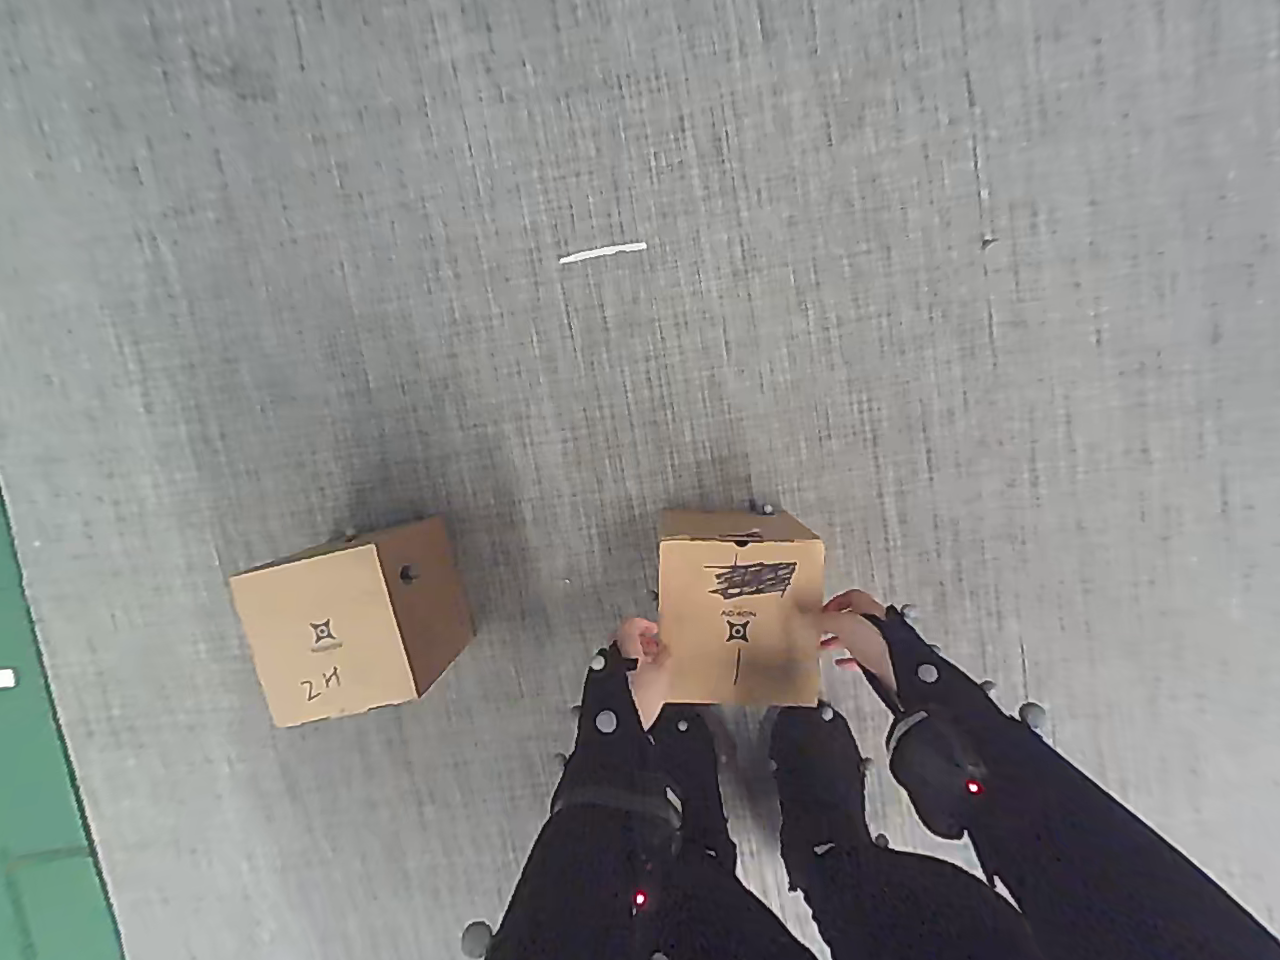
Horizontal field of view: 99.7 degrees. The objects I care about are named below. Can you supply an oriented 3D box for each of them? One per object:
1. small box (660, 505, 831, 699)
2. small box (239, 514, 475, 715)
[{"bbox_3d":[0.108,0.126,0.620,0.168,0.176,0.179,1,97,3],"label":"small box"},{"bbox_3d":[-0.319,0.144,0.647,0.168,0.176,0.179,-13,95,5],"label":"small box"}]
